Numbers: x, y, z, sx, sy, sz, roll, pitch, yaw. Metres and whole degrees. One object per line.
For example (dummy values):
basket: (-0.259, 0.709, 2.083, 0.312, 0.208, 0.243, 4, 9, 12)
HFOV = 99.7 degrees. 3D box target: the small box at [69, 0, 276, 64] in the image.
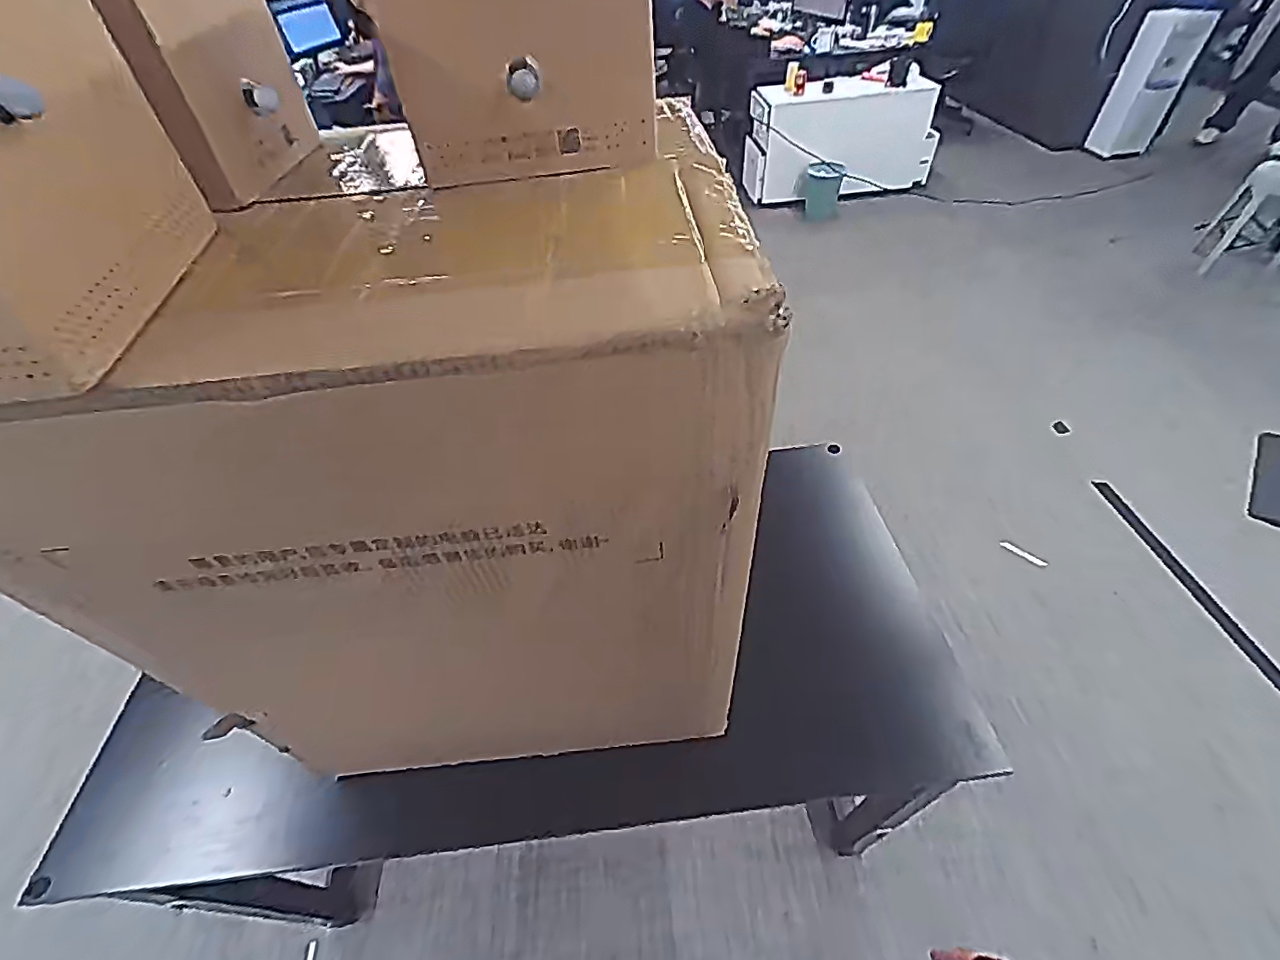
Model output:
small box: (-0.350, -0.335, 0.289, 0.179, 0.176, 0.168, -4, 47, -2)
